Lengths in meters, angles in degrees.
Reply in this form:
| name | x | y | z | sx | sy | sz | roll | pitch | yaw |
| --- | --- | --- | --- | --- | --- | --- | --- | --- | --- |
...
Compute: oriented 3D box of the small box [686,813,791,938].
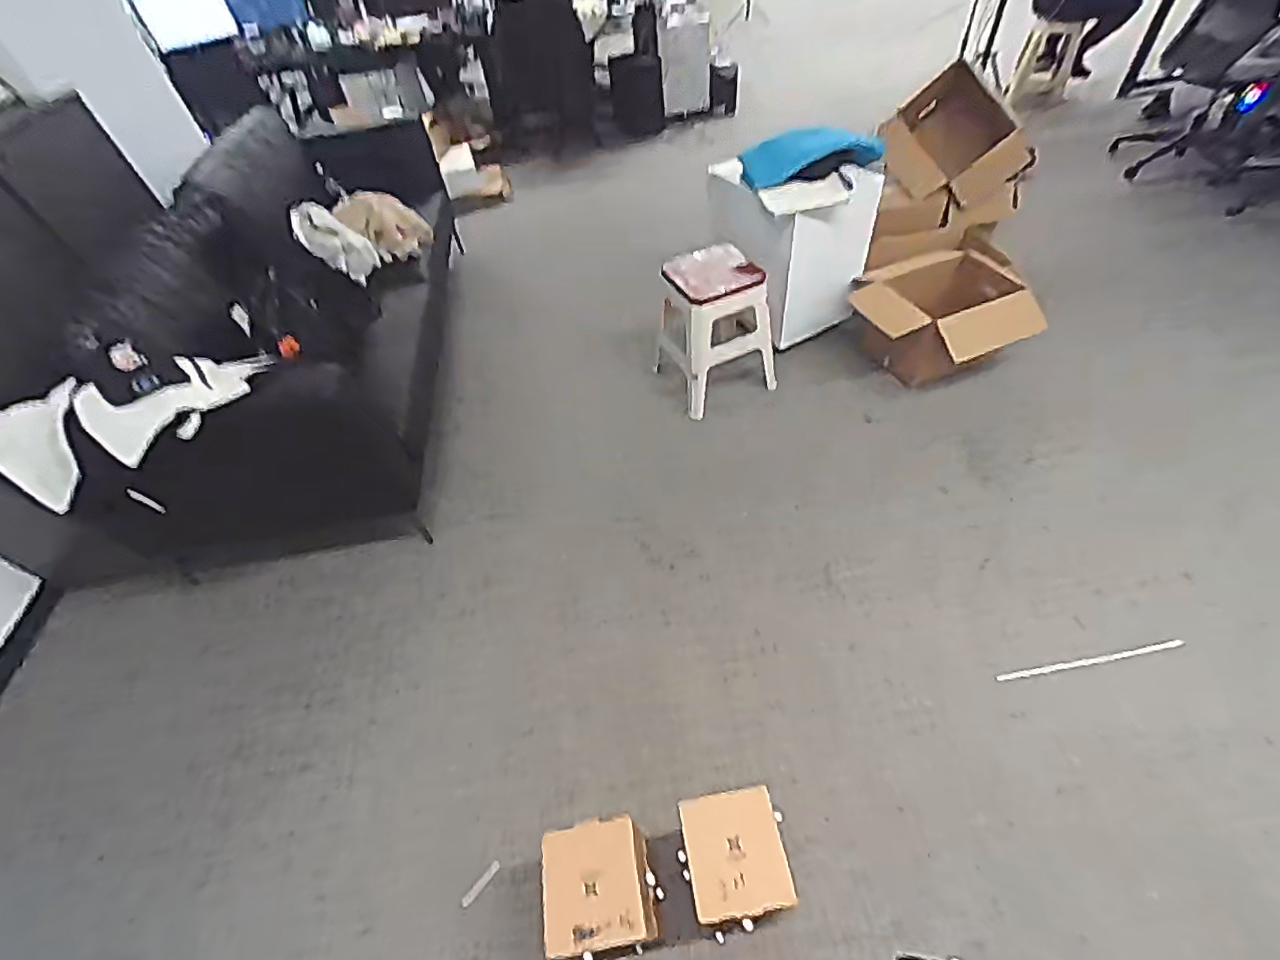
| name | x | y | z | sx | sy | sz | roll | pitch | yaw |
| --- | --- | --- | --- | --- | --- | --- | --- | --- | --- |
| small box | 0.195 | 0.805 | 1.097 | 0.168 | 0.176 | 0.179 | -11 | 48 | -2 |
